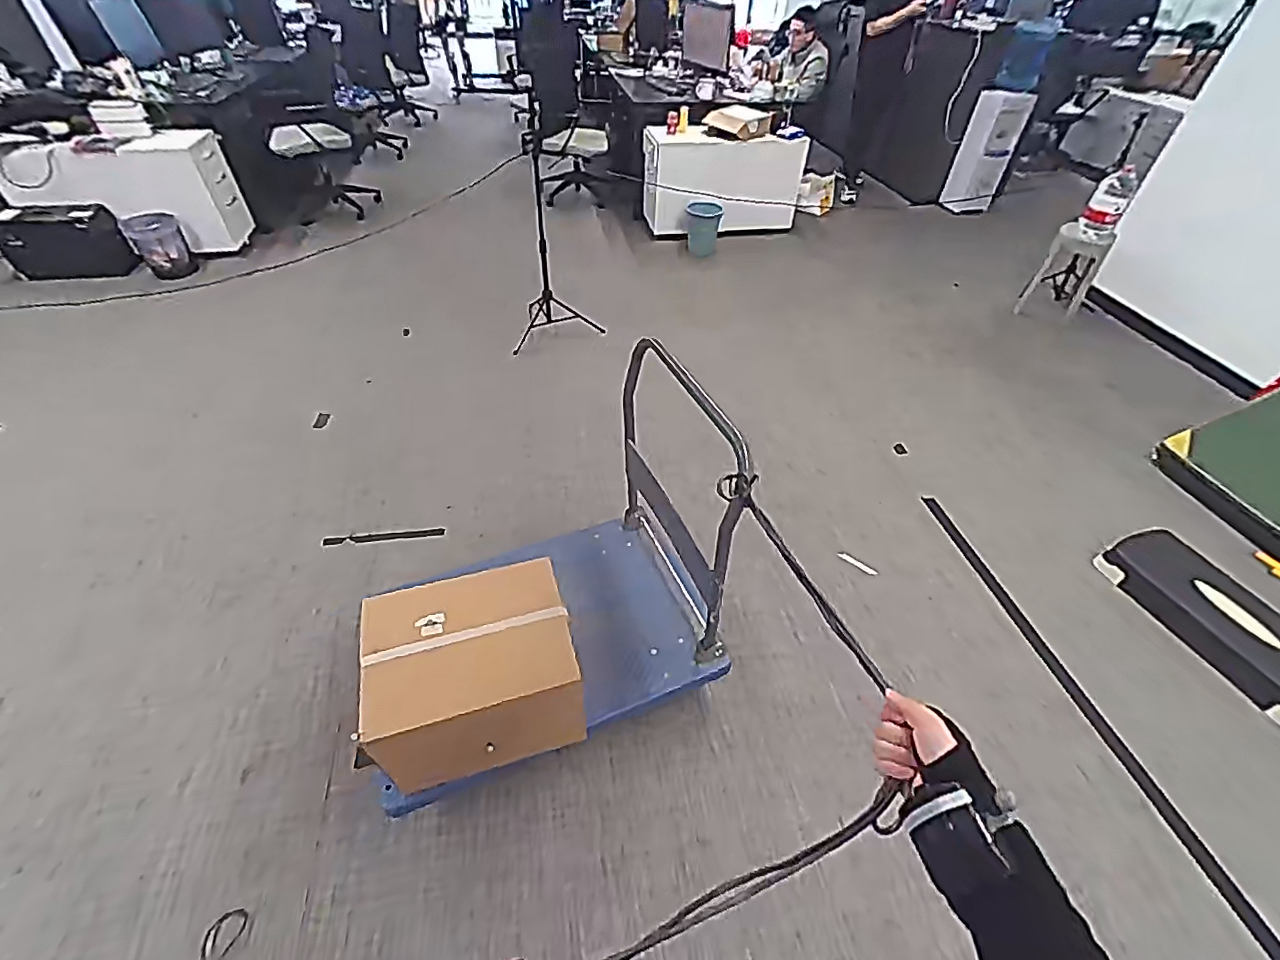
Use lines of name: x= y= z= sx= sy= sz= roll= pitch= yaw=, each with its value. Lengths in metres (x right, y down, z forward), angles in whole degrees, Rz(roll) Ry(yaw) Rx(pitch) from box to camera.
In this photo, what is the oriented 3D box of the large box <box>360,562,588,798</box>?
large box: x=-0.352 y=0.435 z=1.194 sx=0.408 sy=0.320 sz=0.320 roll=-12 pitch=46 yaw=-14
